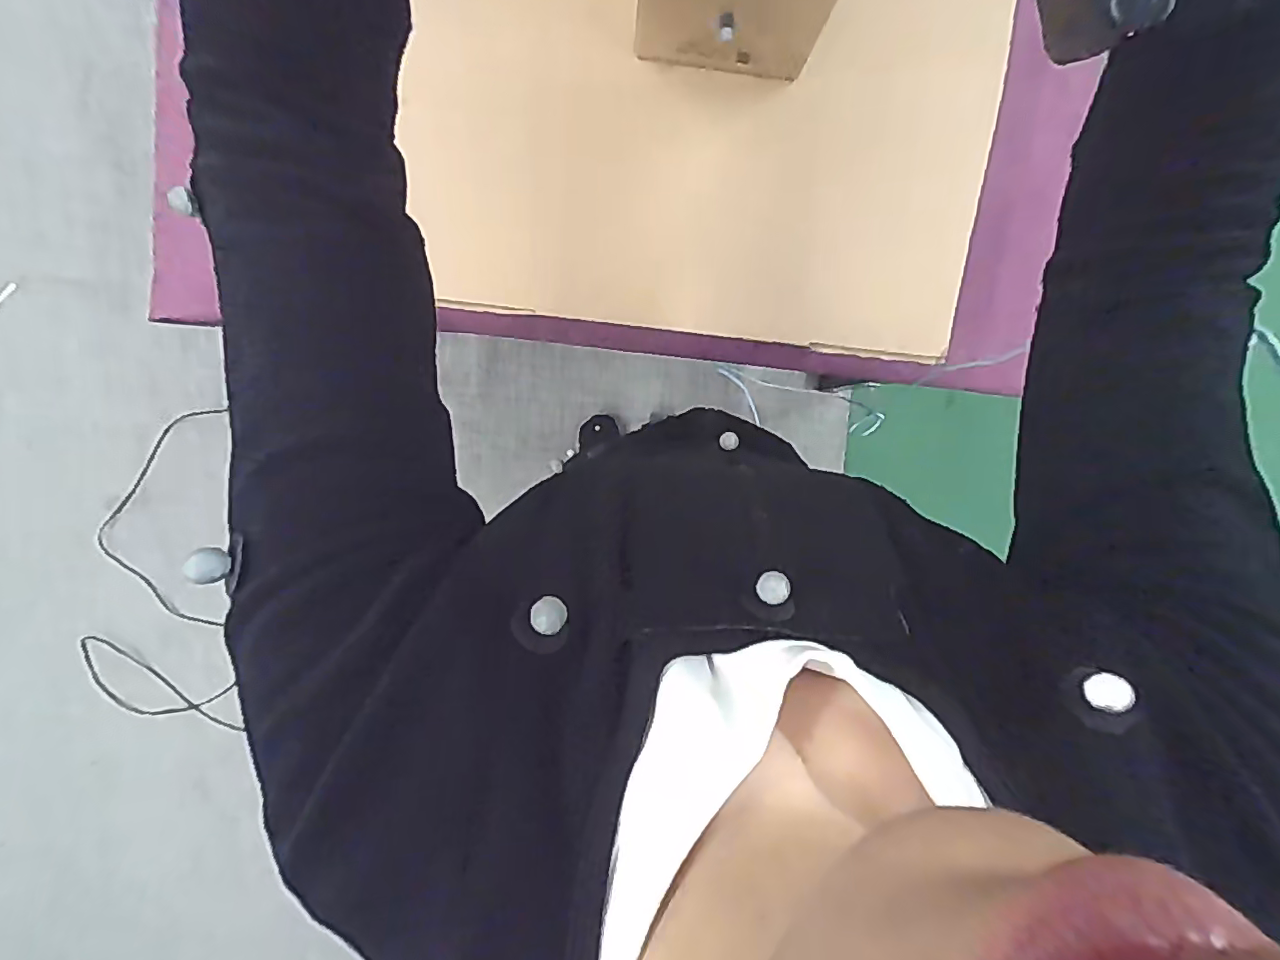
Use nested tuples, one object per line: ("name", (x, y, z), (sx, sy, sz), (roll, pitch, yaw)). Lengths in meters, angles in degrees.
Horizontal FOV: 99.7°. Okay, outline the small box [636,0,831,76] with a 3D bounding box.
("small box", (0.088, -0.490, 0.448), (0.168, 0.176, 0.179), (6, 94, -3))
